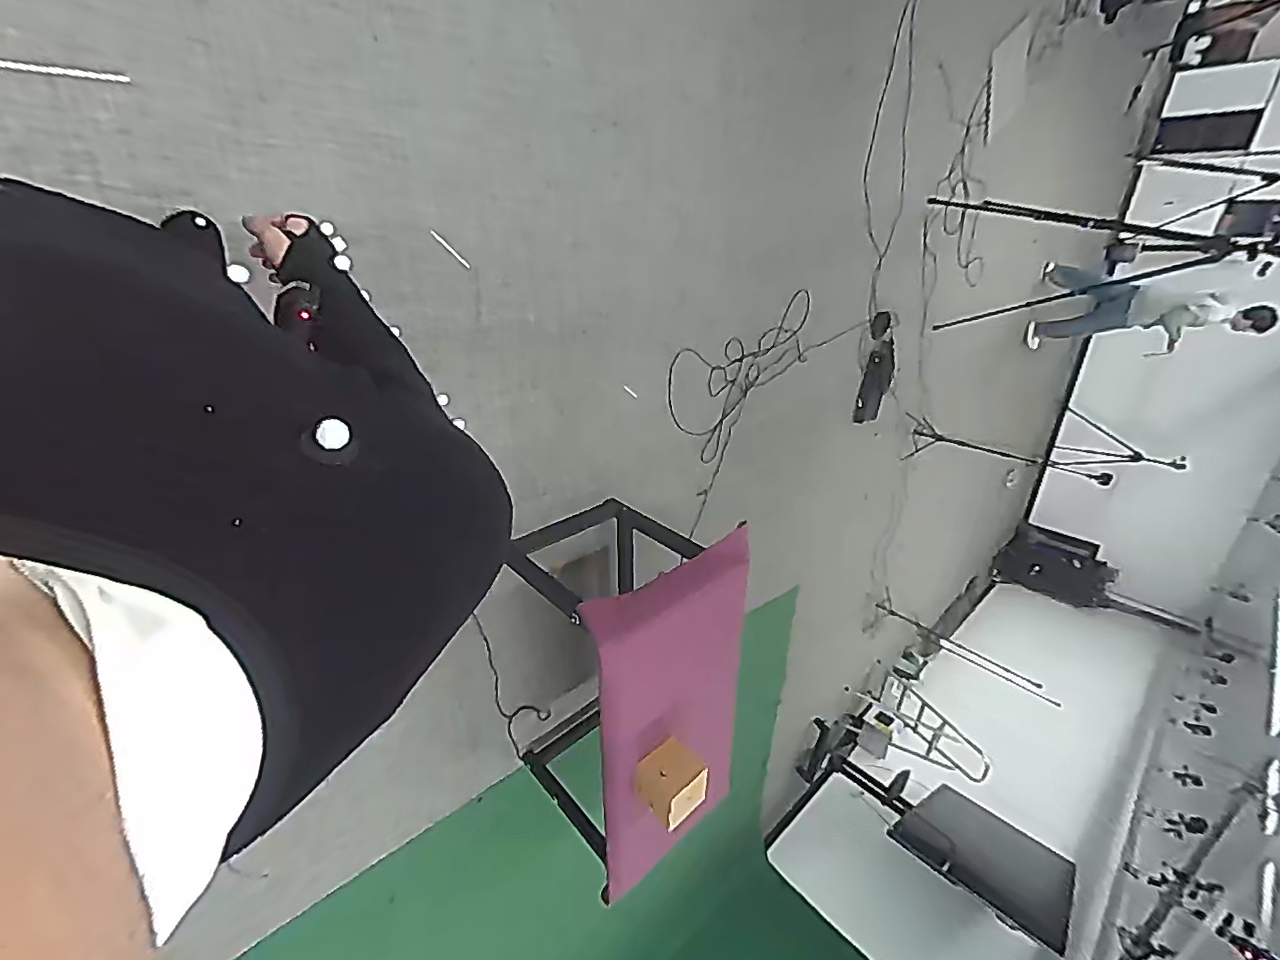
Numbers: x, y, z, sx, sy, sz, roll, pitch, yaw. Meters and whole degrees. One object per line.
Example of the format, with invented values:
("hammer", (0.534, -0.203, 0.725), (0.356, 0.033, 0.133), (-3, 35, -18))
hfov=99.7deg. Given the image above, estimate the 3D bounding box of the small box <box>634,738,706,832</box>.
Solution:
("small box", (0.096, 1.013, 1.811), (0.179, 0.176, 0.168), (-20, 122, -39))
